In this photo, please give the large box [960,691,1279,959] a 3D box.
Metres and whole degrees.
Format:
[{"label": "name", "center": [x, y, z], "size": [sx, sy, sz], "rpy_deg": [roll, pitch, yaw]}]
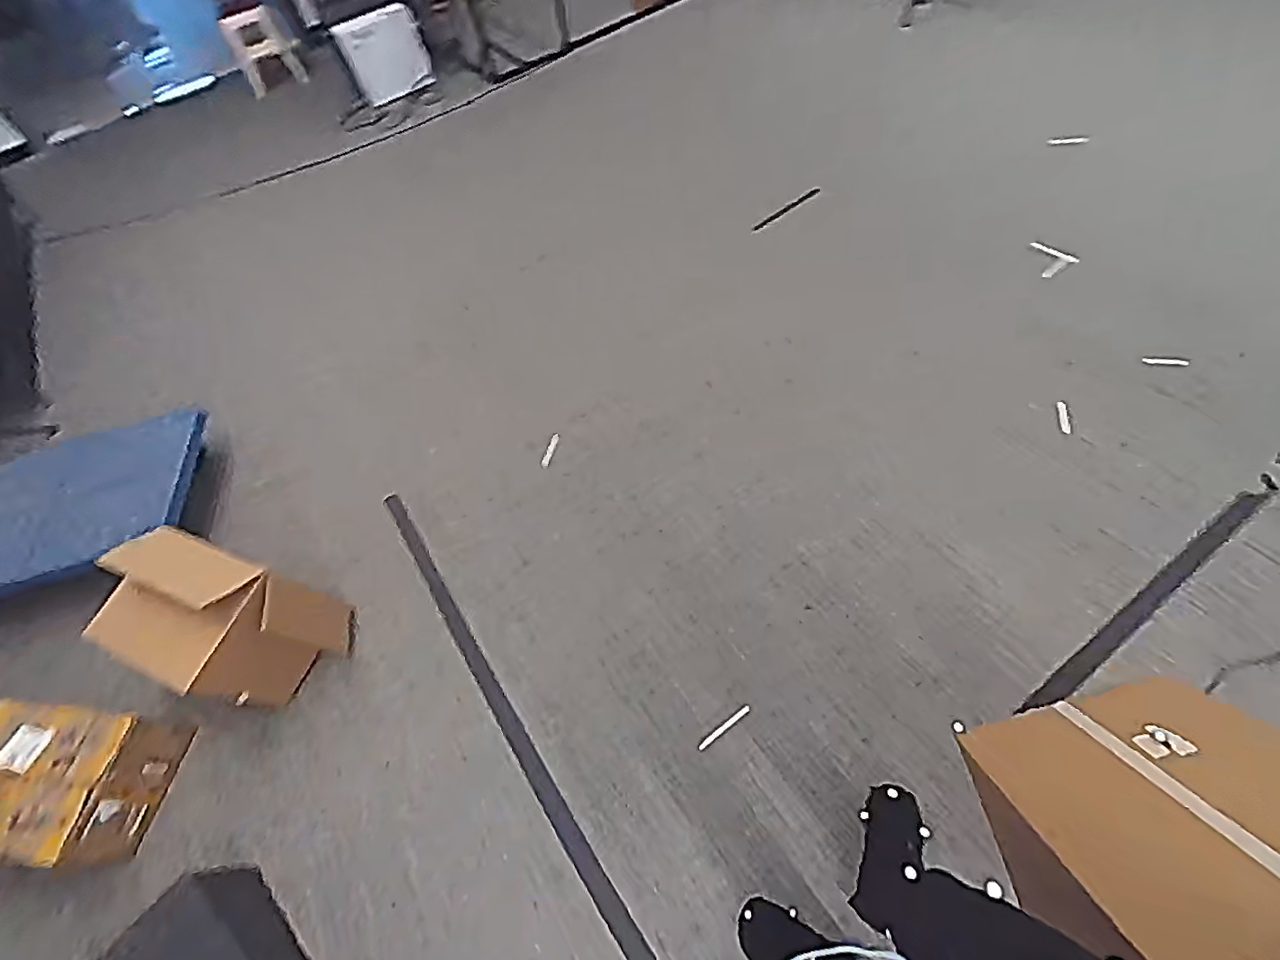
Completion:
[{"label": "large box", "center": [0.673, 0.518, 0.633], "size": [0.320, 0.408, 0.320], "rpy_deg": [-19, 91, 7]}]
